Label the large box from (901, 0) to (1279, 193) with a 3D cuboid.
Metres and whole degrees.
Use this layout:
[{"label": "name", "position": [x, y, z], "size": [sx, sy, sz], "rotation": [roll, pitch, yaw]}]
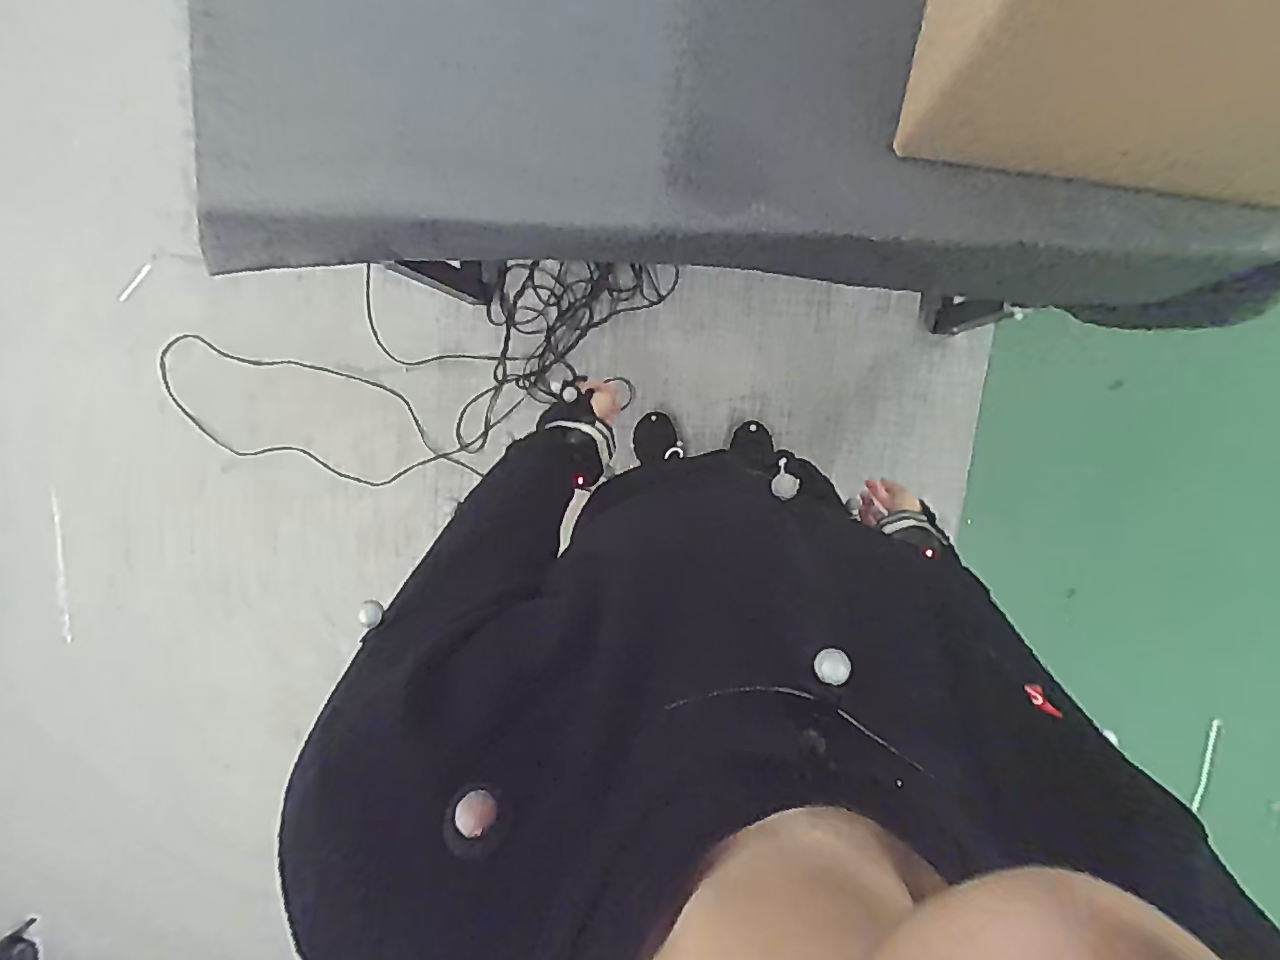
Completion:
[{"label": "large box", "position": [0.465, -0.437, 0.376], "size": [0.408, 0.320, 0.320], "rotation": [10, 99, 4]}]
